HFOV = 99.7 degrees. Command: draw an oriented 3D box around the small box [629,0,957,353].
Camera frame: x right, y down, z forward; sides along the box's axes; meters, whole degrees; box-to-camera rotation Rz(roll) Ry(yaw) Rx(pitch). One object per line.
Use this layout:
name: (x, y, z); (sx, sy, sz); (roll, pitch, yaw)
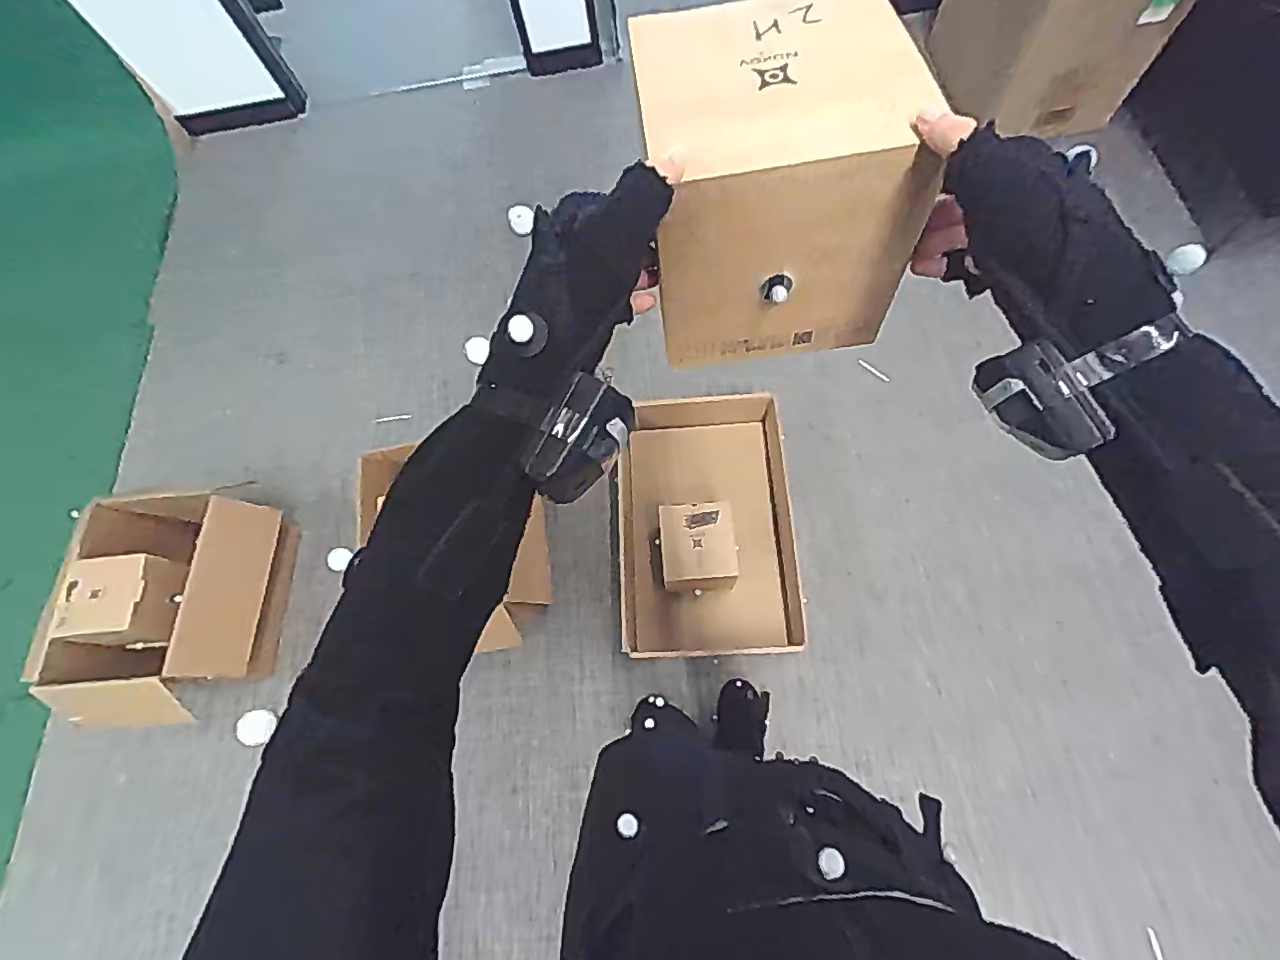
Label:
small box: (0.091, -0.211, 0.397); (0.168, 0.176, 0.179); (-9, 63, 4)

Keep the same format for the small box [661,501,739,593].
small box: (0.136, 0.162, 1.275); (0.168, 0.176, 0.179); (-5, 69, 3)
